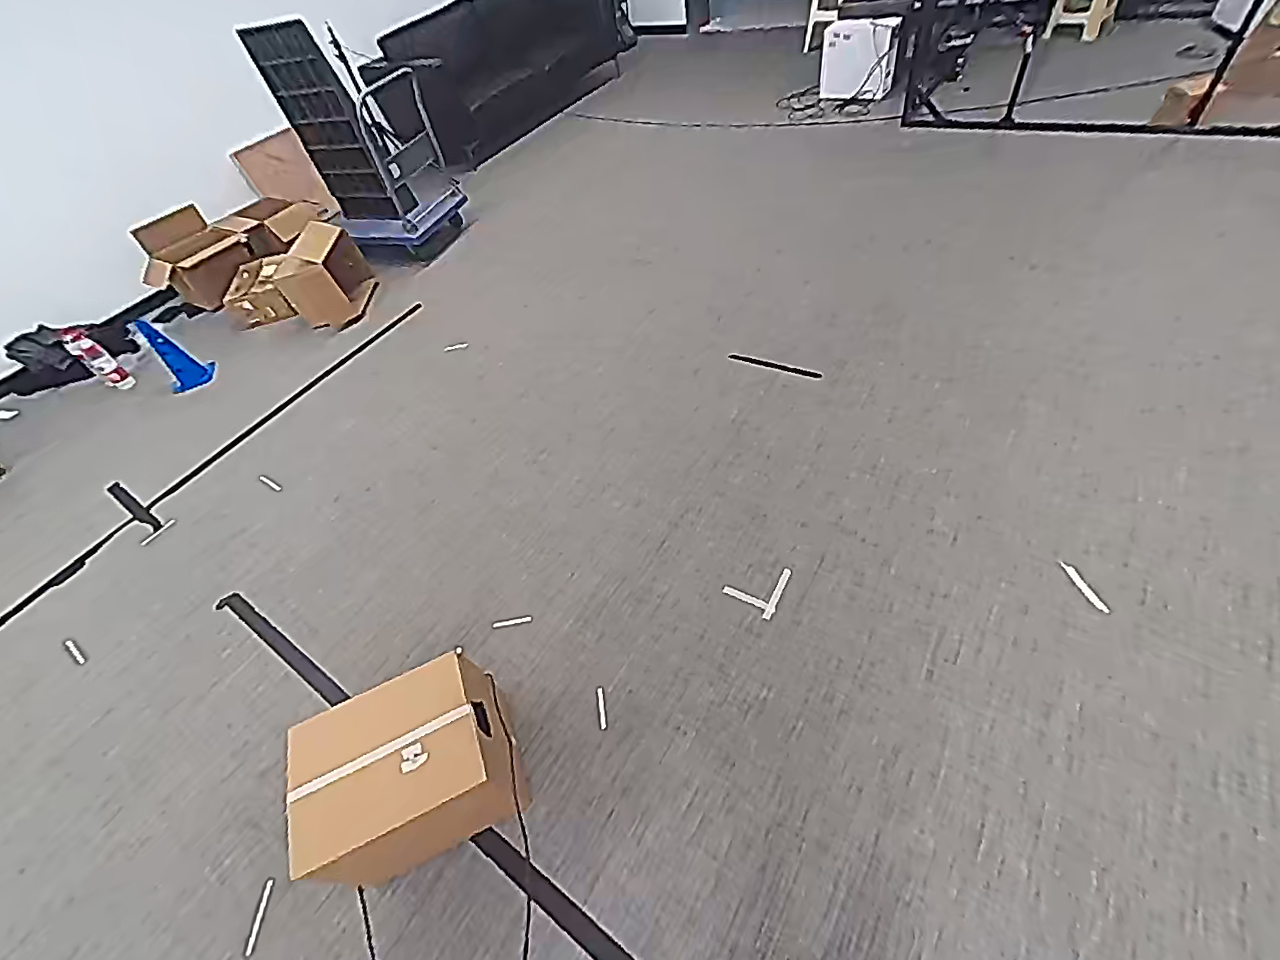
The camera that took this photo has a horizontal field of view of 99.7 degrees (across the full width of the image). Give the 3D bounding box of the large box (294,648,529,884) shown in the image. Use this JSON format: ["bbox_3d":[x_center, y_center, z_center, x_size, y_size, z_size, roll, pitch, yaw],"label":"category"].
[{"bbox_3d":[-0.529,0.677,1.282,0.408,0.320,0.320,-24,52,-10],"label":"large box"}]
